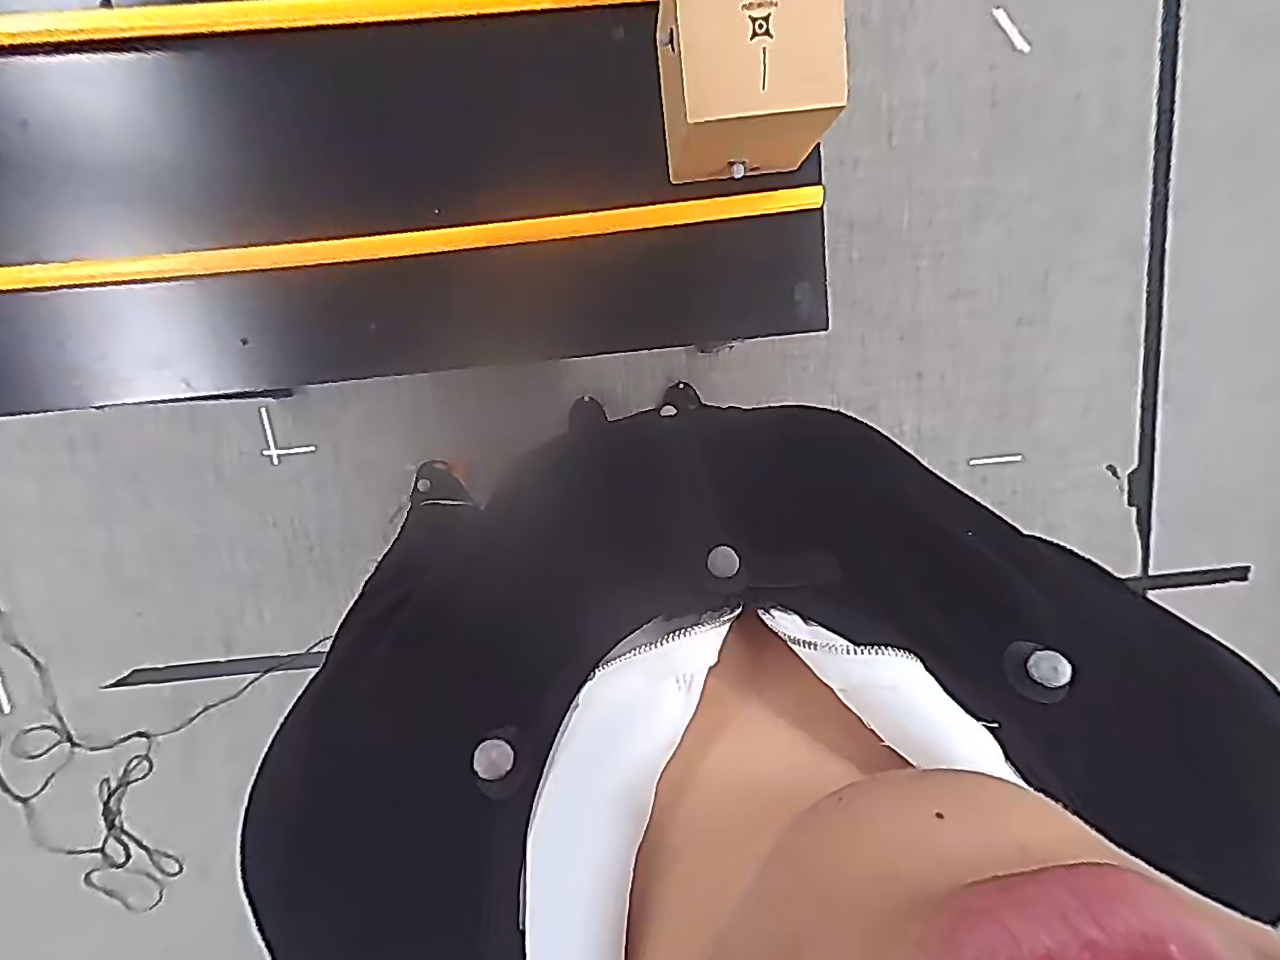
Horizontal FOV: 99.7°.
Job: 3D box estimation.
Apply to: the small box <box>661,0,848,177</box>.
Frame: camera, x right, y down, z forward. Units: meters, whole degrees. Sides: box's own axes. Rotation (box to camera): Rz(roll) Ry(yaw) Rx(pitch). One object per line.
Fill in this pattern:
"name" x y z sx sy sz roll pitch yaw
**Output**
"small box" 0.117 -0.471 0.607 0.168 0.176 0.179 -7 100 -1
